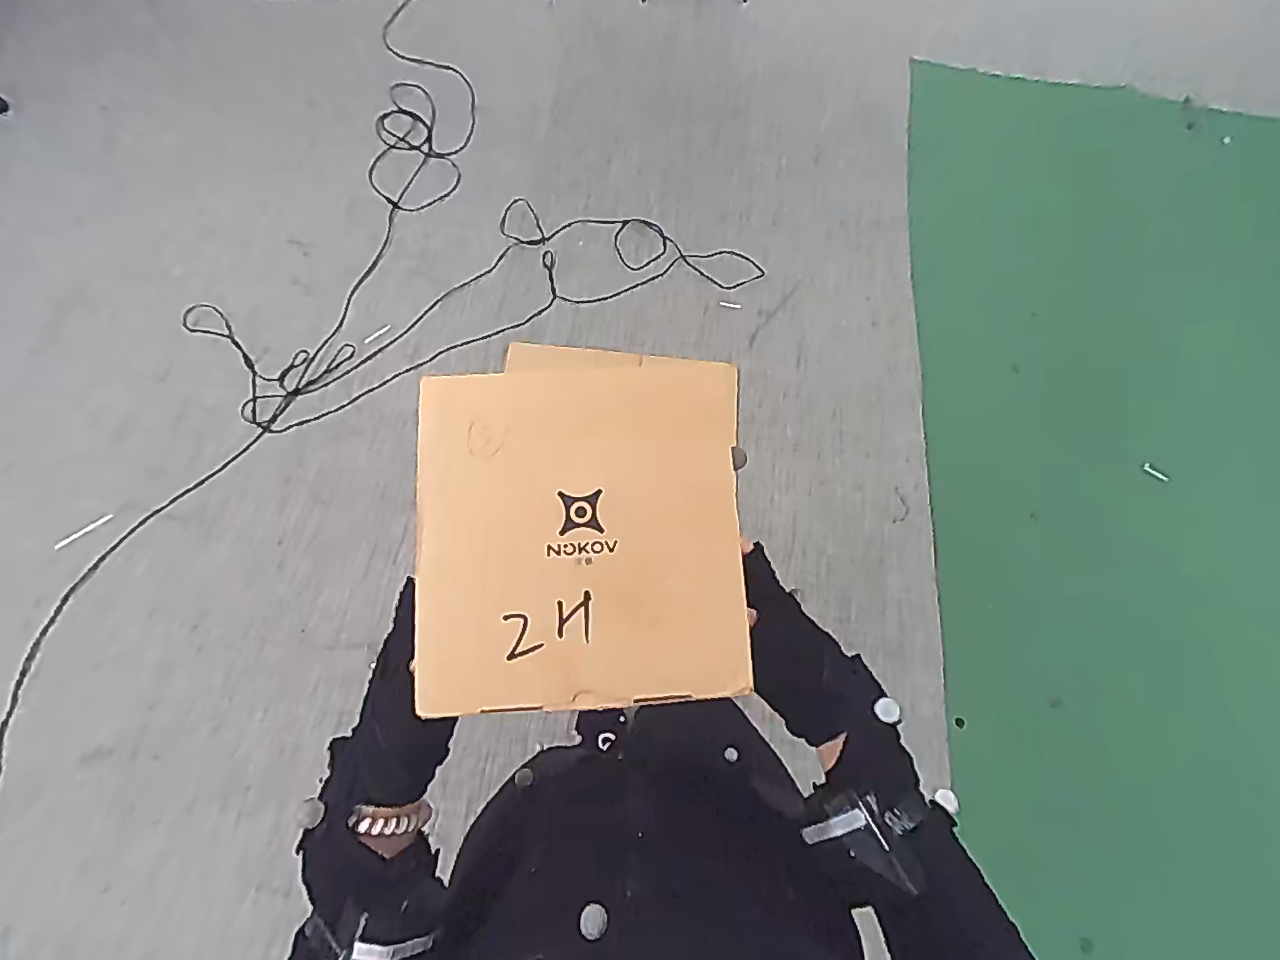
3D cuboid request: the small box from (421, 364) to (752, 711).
[{"bbox_3d":[-0.033,0.039,0.359,0.168,0.176,0.179,-3,80,-2],"label":"small box"}]
